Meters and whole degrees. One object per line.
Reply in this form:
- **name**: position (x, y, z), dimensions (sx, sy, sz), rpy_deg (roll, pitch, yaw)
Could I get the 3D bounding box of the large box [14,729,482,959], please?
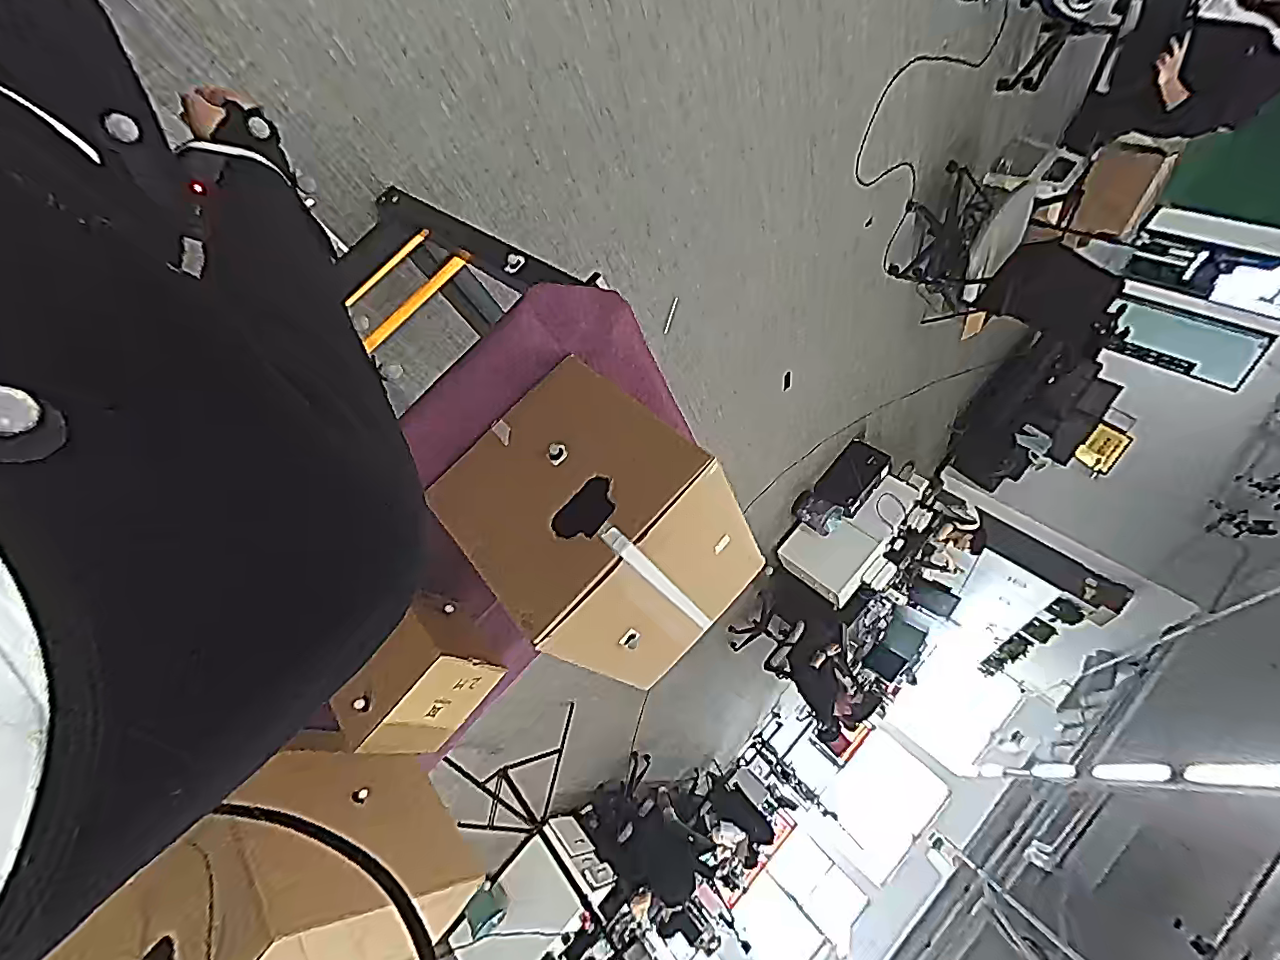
- **large box**: position (-0.525, 0.599, 0.783), dimensions (0.320, 0.320, 0.408), rpy_deg (-47, 148, -7)
